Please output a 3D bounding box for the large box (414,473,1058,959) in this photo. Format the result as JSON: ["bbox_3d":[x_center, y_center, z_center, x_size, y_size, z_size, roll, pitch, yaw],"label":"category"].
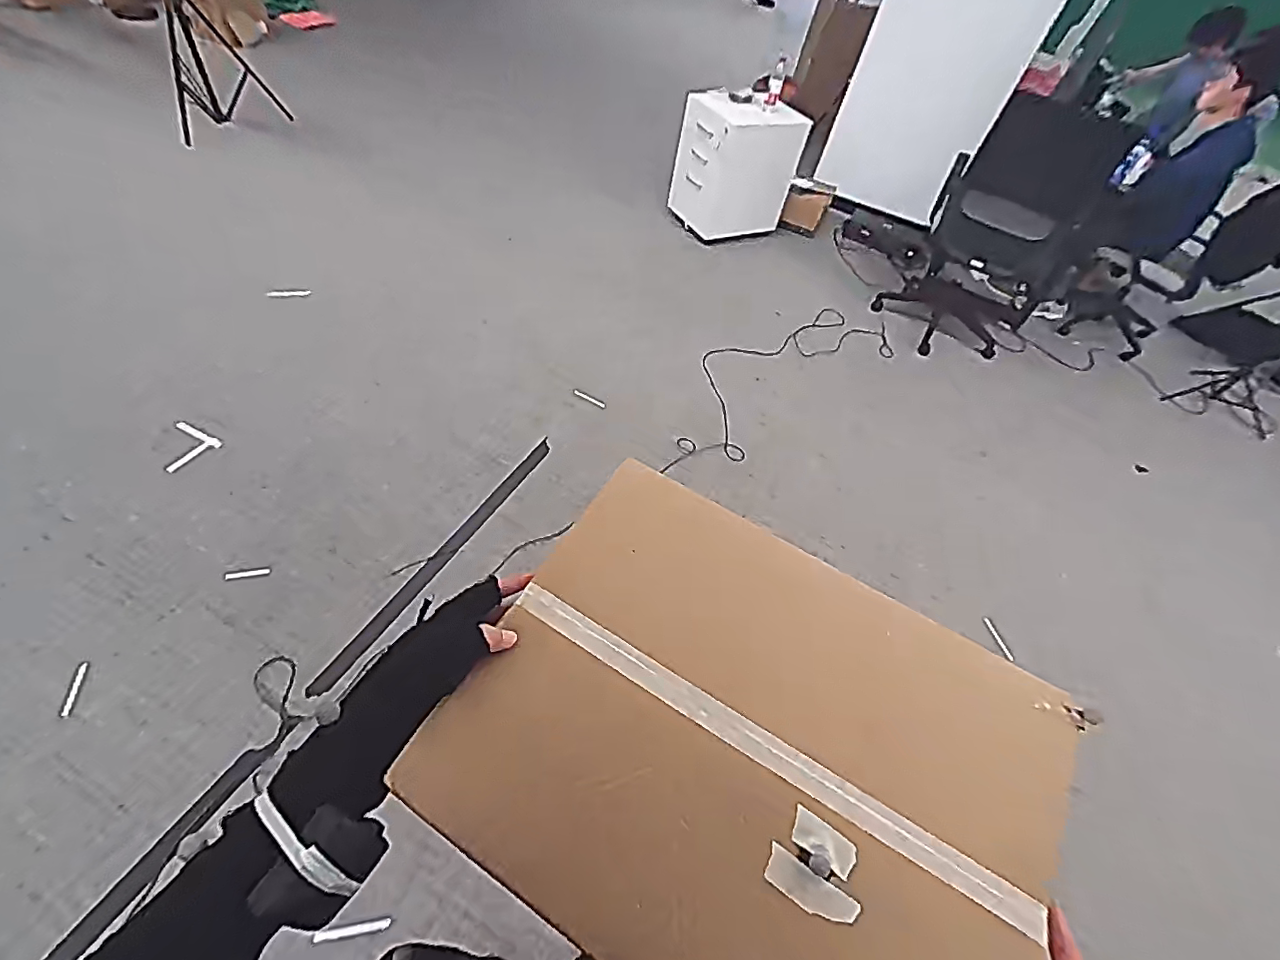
[{"bbox_3d":[0.076,0.267,0.530,0.408,0.320,0.320,29,63,14],"label":"large box"}]
